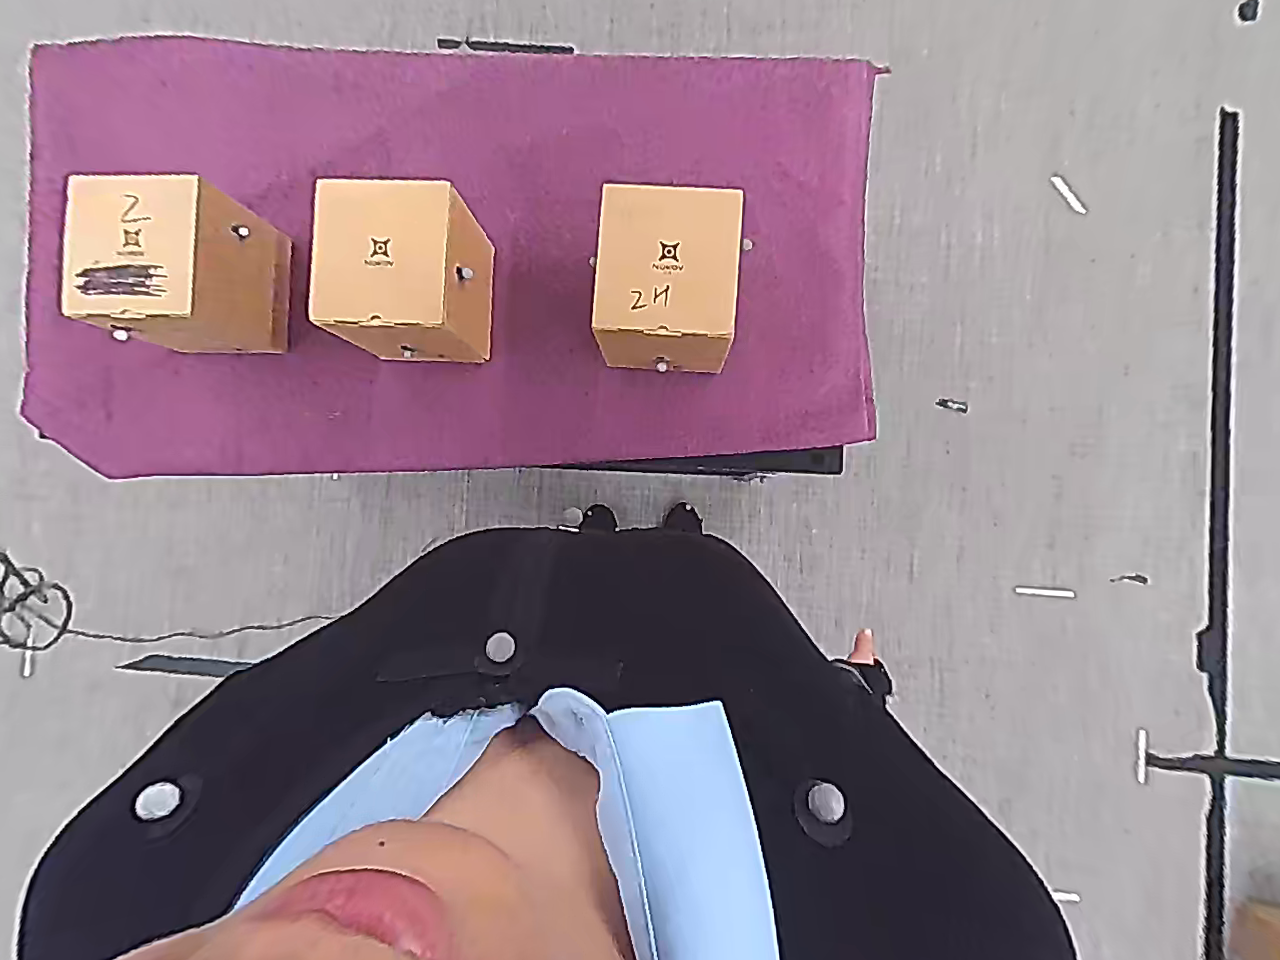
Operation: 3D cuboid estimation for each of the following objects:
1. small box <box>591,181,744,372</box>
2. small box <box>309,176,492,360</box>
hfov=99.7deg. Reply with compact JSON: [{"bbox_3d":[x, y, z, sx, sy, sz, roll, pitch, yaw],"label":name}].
[{"bbox_3d":[0.035,-0.251,0.701,0.168,0.176,0.179,5,88,3],"label":"small box"},{"bbox_3d":[-0.304,-0.270,0.720,0.168,0.176,0.179,2,89,2],"label":"small box"}]
